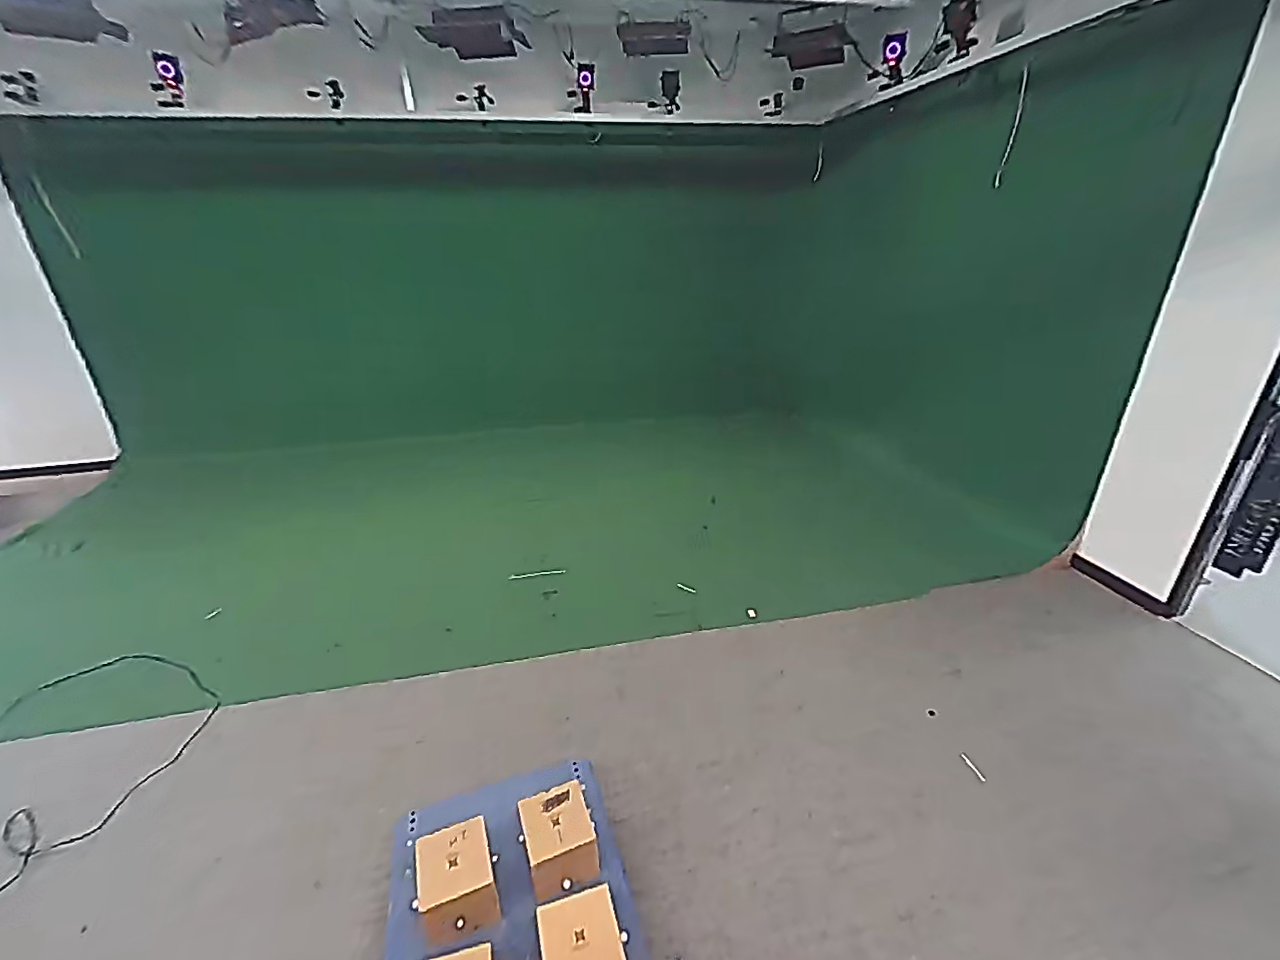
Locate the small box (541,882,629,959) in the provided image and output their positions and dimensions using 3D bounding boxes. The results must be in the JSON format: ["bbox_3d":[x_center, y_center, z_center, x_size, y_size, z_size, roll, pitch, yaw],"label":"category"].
[{"bbox_3d":[-0.121,1.048,1.189,0.168,0.176,0.179,-8,26,-16],"label":"small box"}]

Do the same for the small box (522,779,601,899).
[{"bbox_3d":[-0.208,0.941,1.422,0.168,0.176,0.179,-11,27,-19],"label":"small box"}]

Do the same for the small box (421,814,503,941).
[{"bbox_3d":[-0.440,0.986,1.337,0.168,0.176,0.179,-10,26,-20],"label":"small box"}]
